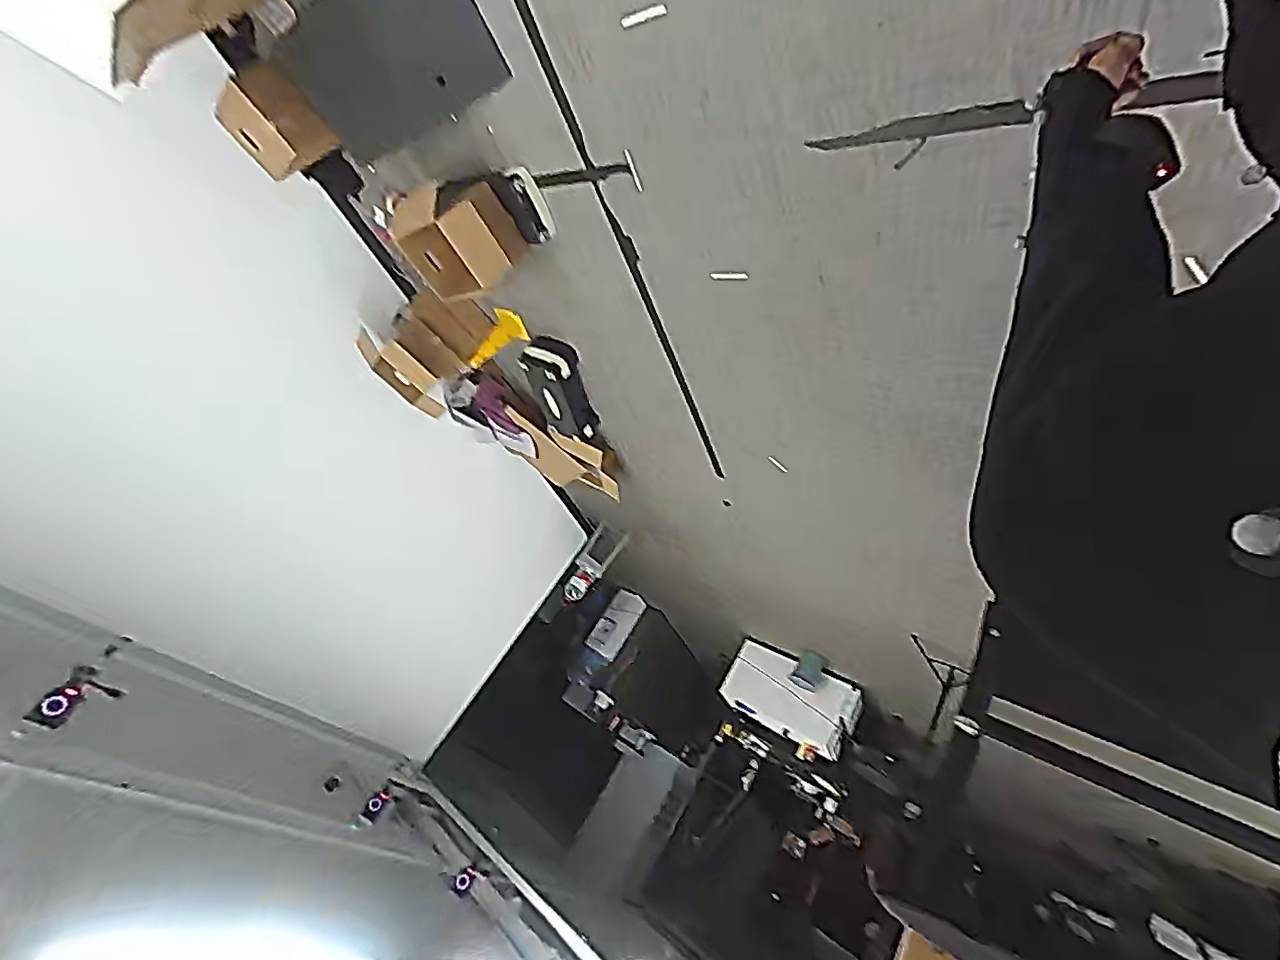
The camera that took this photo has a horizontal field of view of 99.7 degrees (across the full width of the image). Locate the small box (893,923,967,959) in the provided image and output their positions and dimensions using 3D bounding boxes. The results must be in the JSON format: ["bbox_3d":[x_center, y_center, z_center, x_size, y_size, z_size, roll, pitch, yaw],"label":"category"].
[{"bbox_3d":[0.604,1.051,1.106,0.168,0.176,0.179,17,154,34],"label":"small box"}]
